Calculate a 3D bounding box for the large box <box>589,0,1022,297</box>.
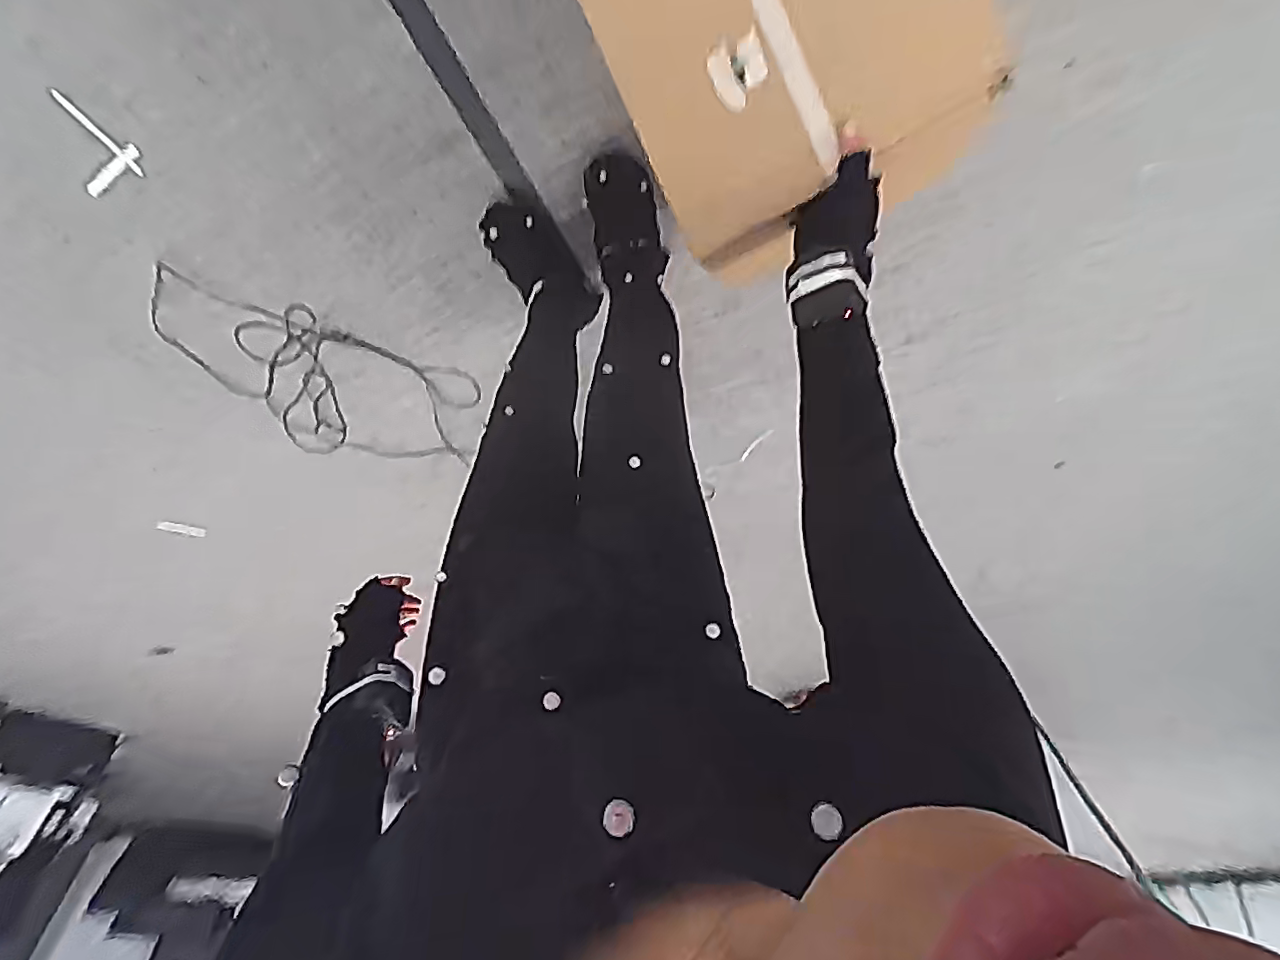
[{"bbox_3d":[0.174,-0.495,0.666,0.320,0.320,0.408,-23,94,22],"label":"large box"}]
